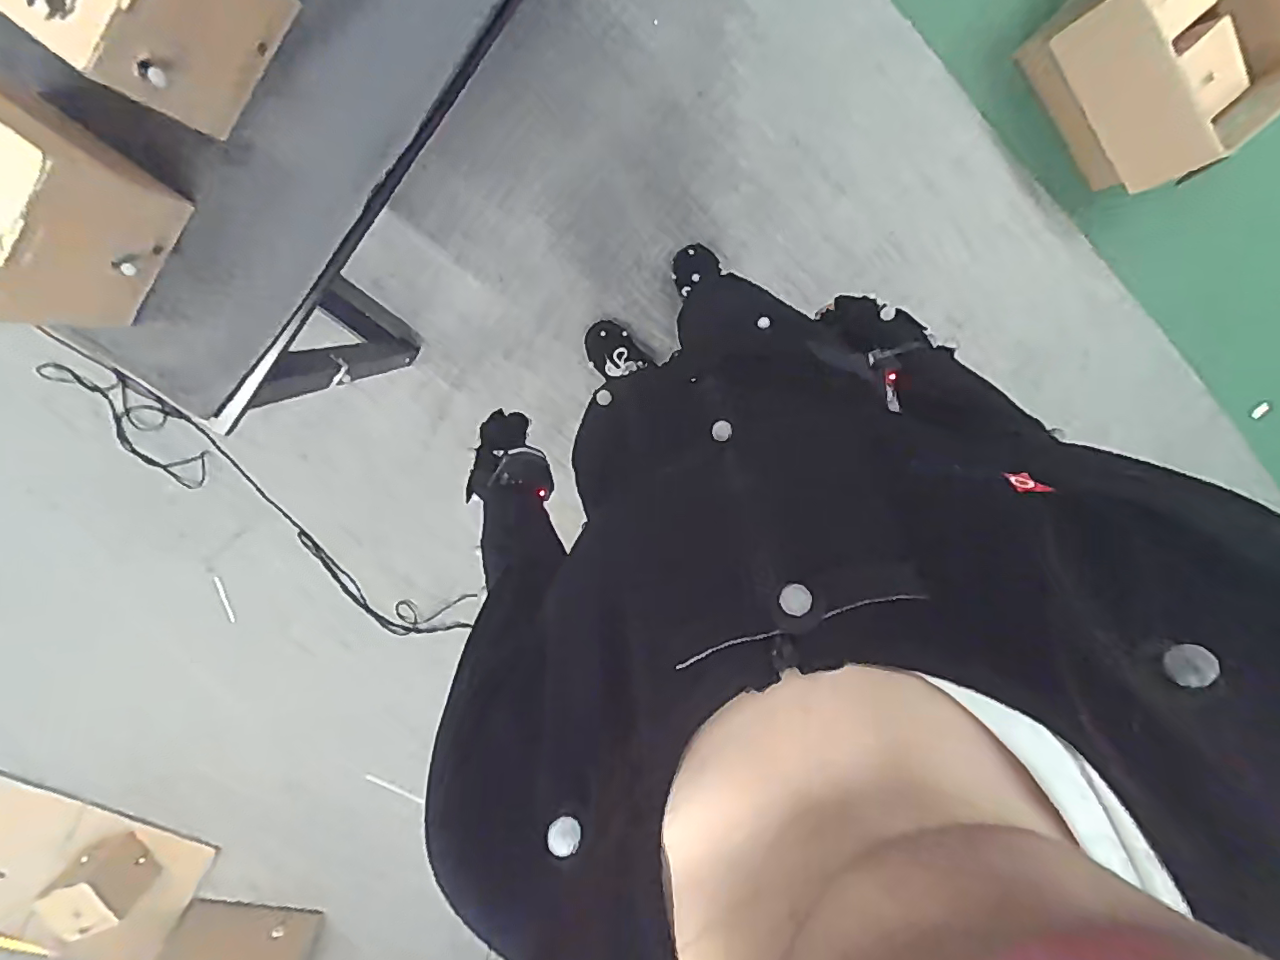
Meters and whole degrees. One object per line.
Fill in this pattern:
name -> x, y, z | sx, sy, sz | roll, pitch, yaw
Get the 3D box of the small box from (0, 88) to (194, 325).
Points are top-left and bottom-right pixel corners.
small box -> -0.597, -0.261, 0.514 | 0.179, 0.176, 0.168 | 36, 99, -12
